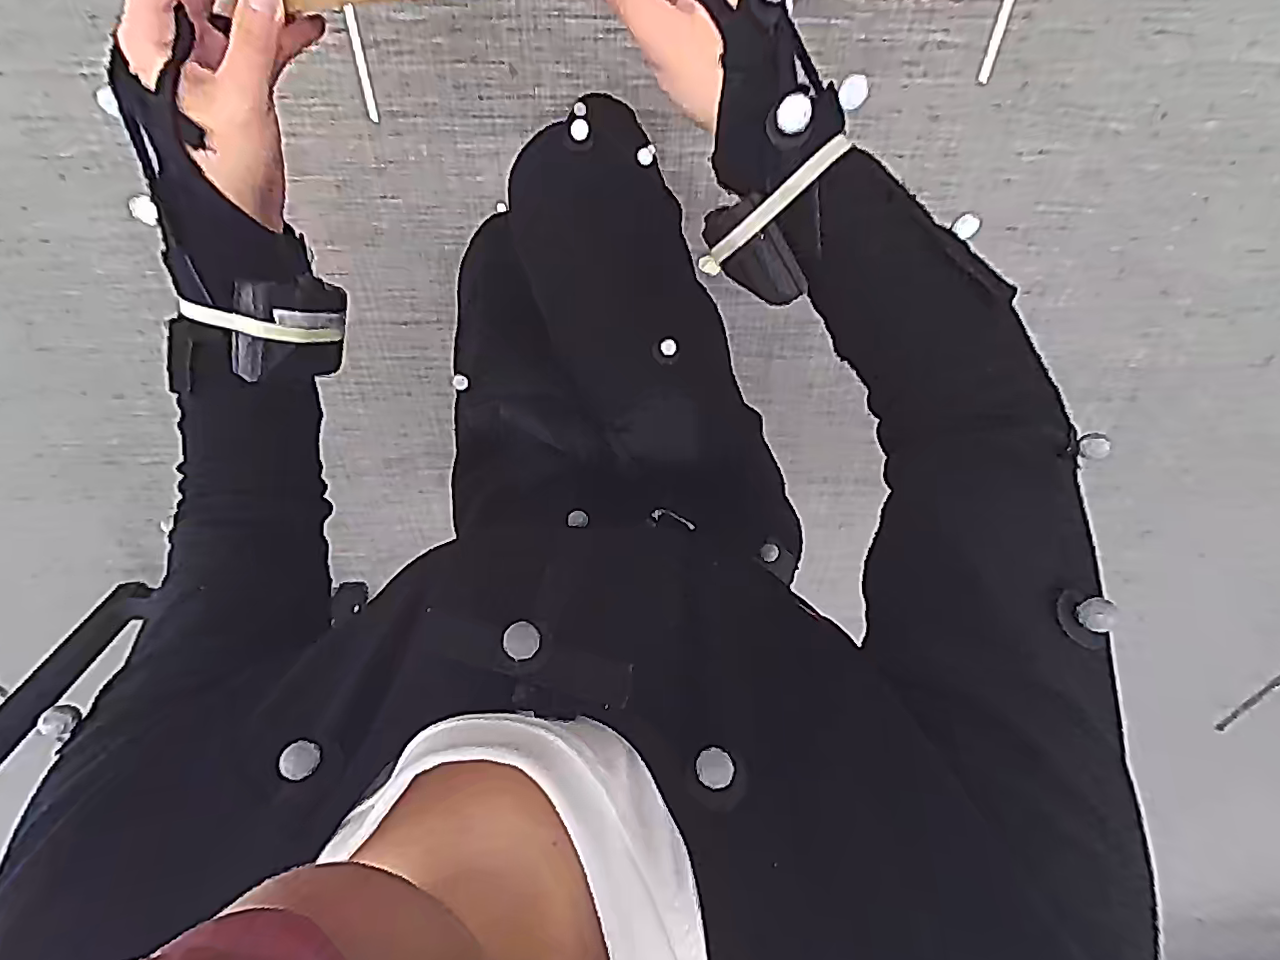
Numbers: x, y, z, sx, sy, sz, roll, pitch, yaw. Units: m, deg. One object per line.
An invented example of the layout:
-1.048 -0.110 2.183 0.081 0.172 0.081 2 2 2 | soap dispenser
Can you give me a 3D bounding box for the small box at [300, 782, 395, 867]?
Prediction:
-0.871 1.036 1.629 0.179 0.176 0.168 -4 128 -1 | small box
